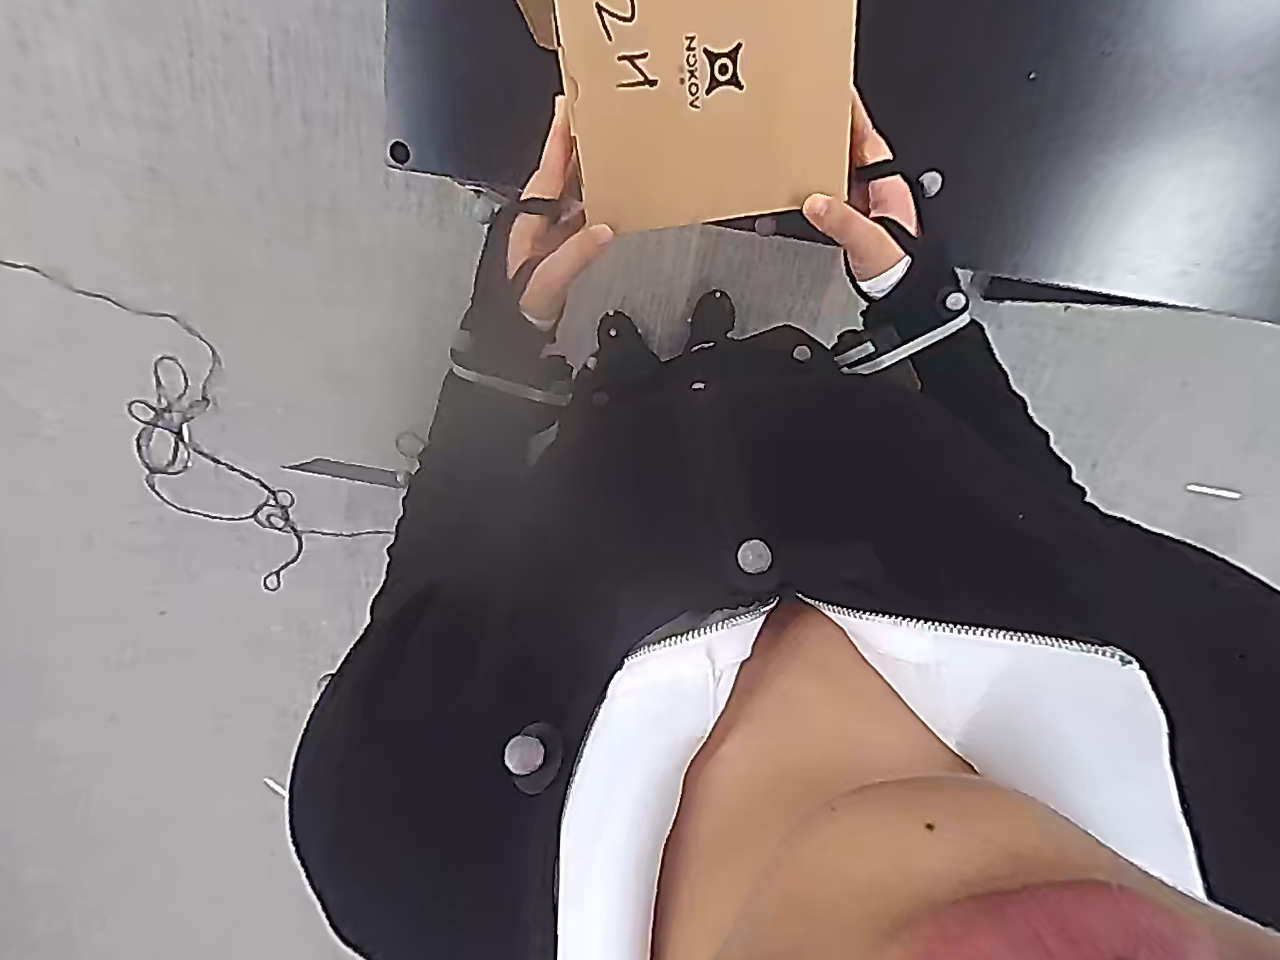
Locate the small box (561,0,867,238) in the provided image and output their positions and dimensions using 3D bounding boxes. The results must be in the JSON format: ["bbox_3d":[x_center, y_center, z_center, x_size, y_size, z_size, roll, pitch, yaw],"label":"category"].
[{"bbox_3d":[0.042,-0.282,0.391,0.179,0.176,0.168,-7,119,2],"label":"small box"}]
